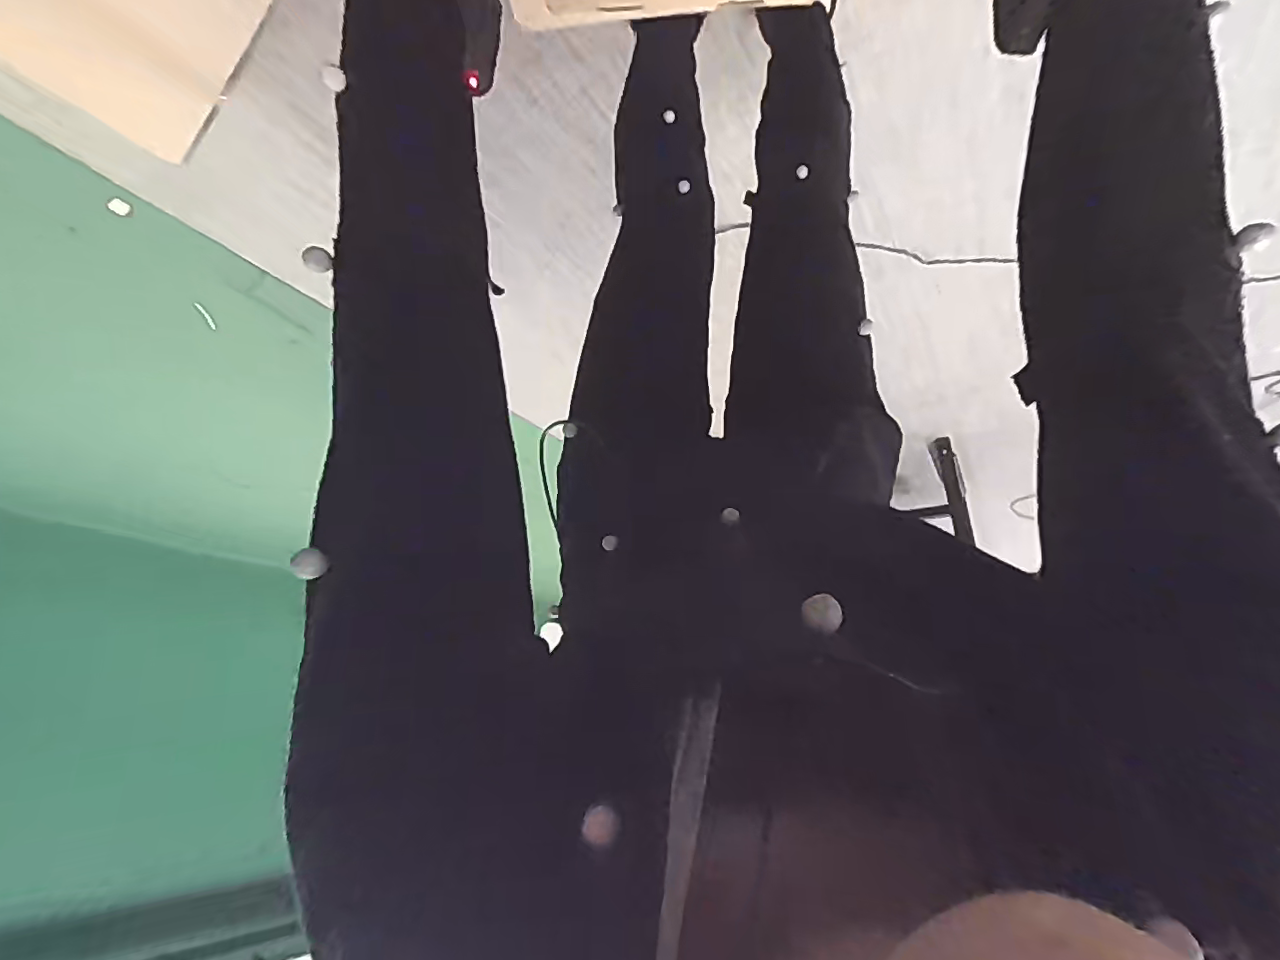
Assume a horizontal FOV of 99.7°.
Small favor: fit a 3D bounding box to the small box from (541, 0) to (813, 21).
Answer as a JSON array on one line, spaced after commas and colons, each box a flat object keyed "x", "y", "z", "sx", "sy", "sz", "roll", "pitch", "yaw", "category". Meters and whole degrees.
[{"x": 0.019, "y": -0.393, "z": 0.287, "sx": 0.168, "sy": 0.176, "sz": 0.179, "roll": -1, "pitch": 154, "yaw": 3, "category": "small box"}]
